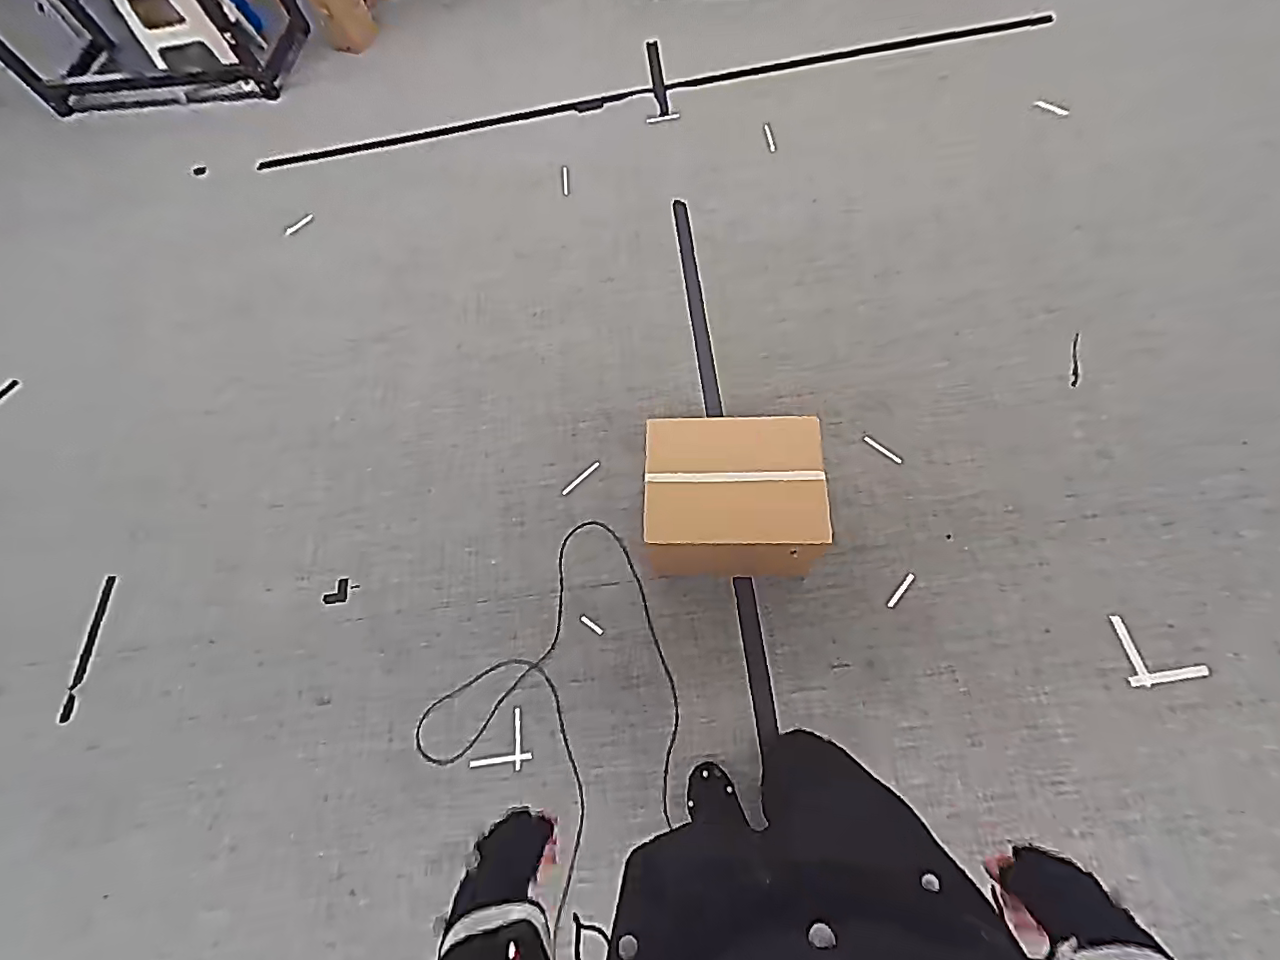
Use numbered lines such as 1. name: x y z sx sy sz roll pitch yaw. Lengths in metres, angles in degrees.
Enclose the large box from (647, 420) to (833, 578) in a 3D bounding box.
1. large box: 0.230 0.063 1.354 0.408 0.320 0.320 -1 66 5
